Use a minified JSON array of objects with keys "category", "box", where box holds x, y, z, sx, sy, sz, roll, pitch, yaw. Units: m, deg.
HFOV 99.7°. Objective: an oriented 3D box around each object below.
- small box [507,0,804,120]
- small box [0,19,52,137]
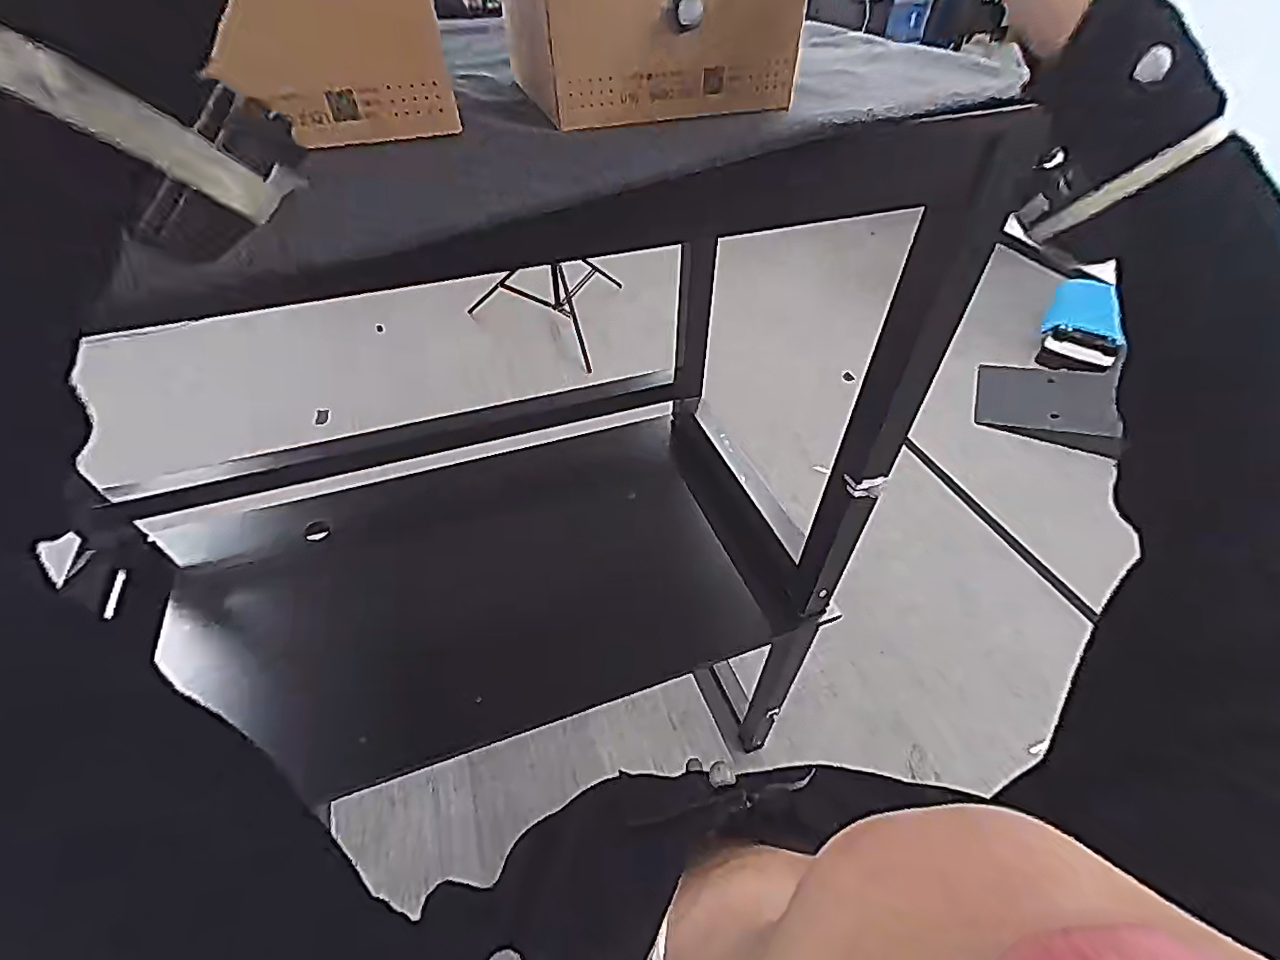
[{"category":"small box","box":[-0.001,-0.354,0.354,0.168,0.176,0.179,-15,47,-12]},{"category":"small box","box":[-0.460,-0.247,0.256,0.168,0.176,0.179,-13,46,-12]}]
